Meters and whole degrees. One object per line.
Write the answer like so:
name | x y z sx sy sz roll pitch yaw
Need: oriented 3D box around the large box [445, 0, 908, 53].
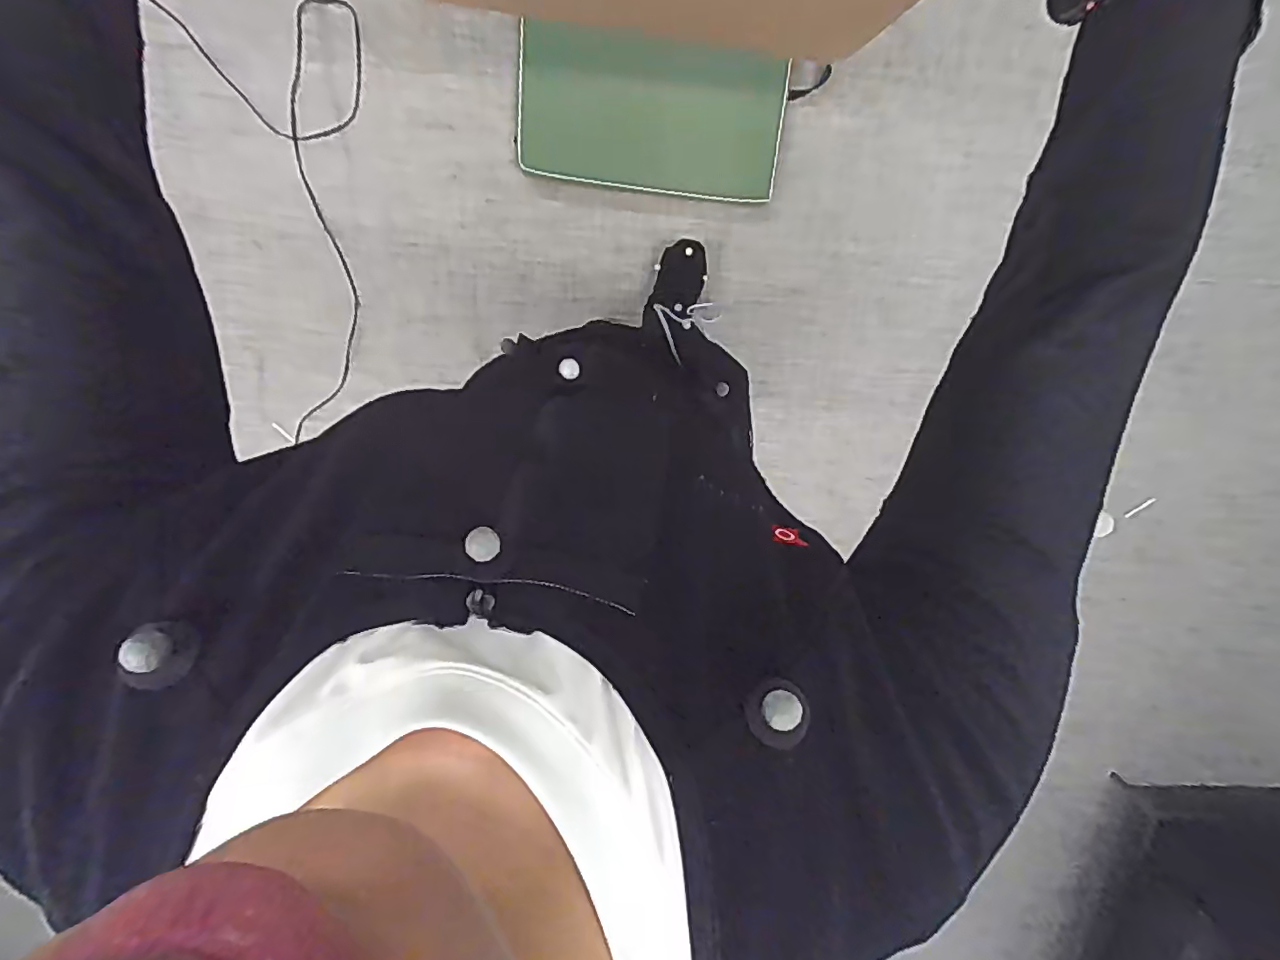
large box | 0.026 -0.509 0.323 0.408 0.320 0.320 5 115 -4
